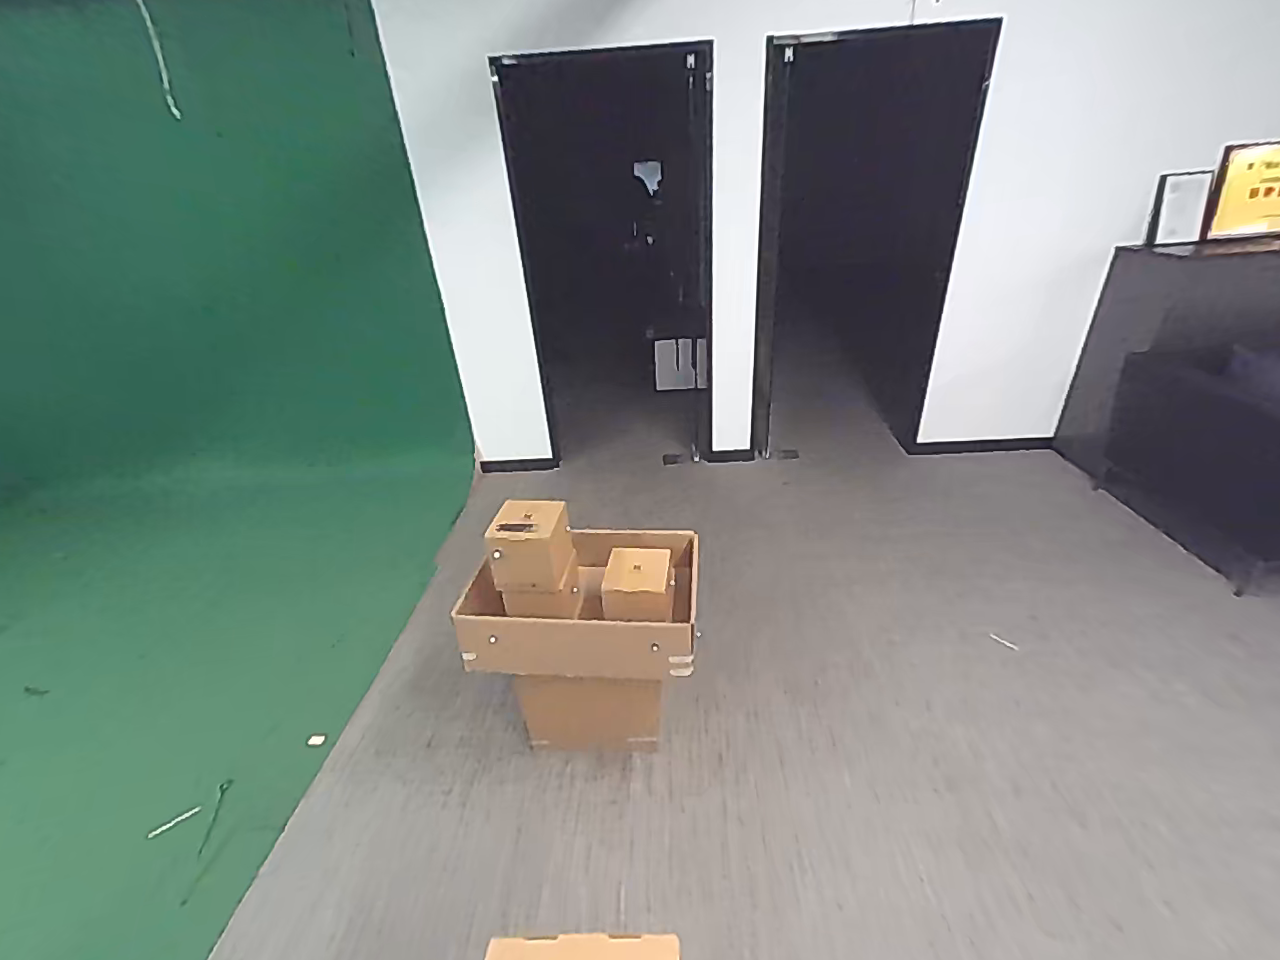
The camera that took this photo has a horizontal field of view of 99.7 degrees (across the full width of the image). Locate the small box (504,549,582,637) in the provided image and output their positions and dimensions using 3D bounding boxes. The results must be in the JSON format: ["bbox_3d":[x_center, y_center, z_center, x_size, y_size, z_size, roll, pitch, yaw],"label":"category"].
[{"bbox_3d":[-0.261,0.310,1.499,0.168,0.176,0.179,-1,30,6],"label":"small box"}]
